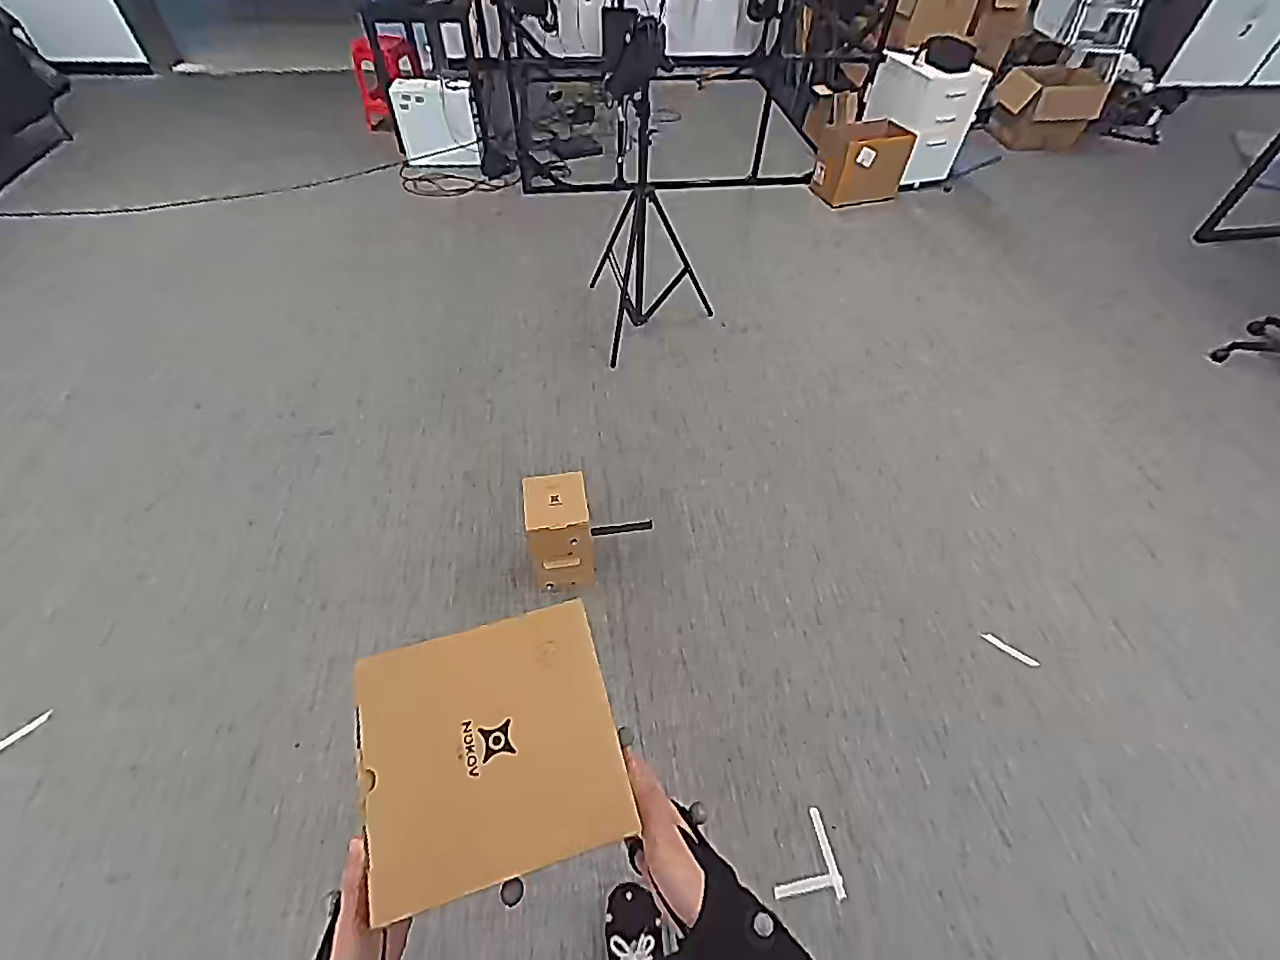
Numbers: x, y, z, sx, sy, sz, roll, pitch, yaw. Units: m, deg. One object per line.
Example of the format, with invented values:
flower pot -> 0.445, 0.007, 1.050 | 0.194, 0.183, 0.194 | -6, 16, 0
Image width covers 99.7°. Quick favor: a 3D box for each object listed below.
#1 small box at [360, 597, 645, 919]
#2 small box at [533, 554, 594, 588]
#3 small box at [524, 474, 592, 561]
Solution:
small box -> -0.106, 0.217, 0.451 | 0.179, 0.176, 0.168 | -15, 64, -10
small box -> -0.231, 0.212, 1.621 | 0.168, 0.176, 0.179 | -7, 52, -7
small box -> -0.225, 0.110, 1.495 | 0.168, 0.176, 0.179 | -7, 51, -9
